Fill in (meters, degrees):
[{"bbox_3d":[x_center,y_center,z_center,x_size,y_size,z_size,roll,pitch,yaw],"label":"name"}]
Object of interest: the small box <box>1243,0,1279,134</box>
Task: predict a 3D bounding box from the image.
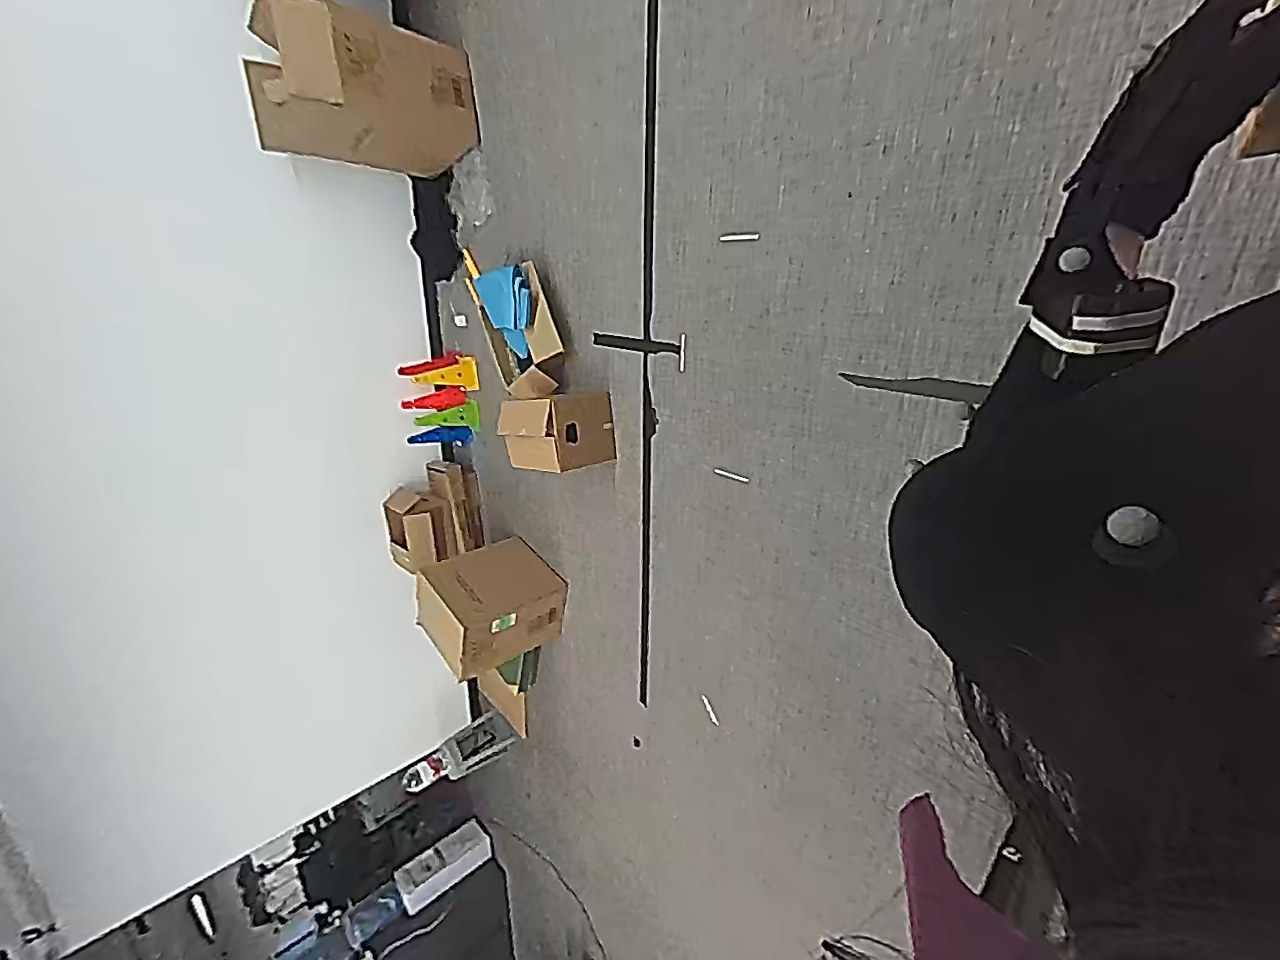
[{"bbox_3d":[0.459,-0.313,0.269,0.179,0.176,0.168,6,98,38],"label":"small box"}]
